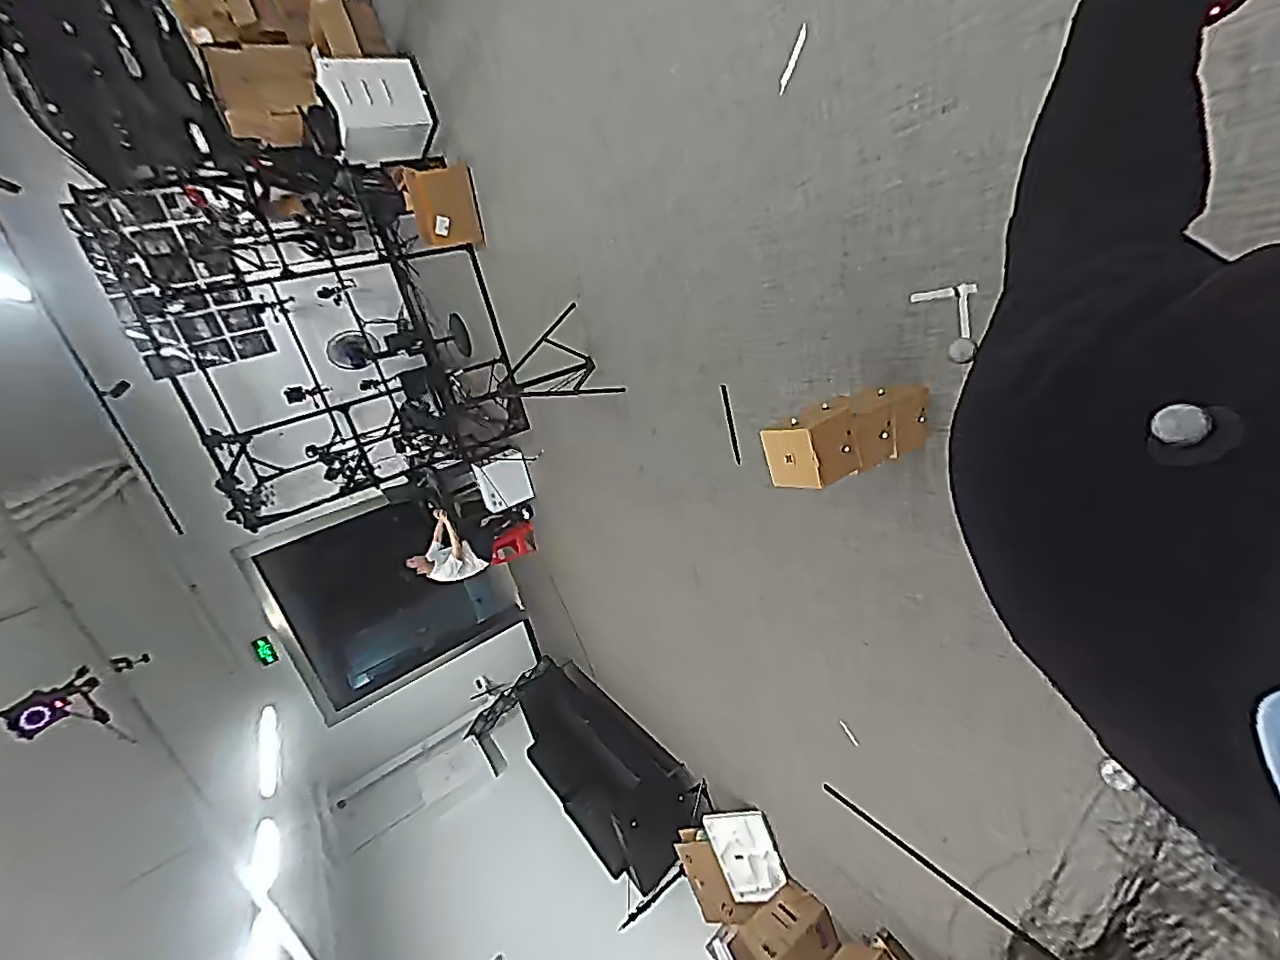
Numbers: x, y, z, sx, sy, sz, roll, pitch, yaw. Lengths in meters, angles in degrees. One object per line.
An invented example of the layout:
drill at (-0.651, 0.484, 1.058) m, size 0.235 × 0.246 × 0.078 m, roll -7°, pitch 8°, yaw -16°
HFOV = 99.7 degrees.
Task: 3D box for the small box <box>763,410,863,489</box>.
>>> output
small box at (0.471, -0.085, 1.469) m, size 0.179 × 0.176 × 0.168 m, roll 4°, pitch 115°, yaw 59°

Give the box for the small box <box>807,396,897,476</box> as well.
small box at (0.605, -0.133, 1.548) m, size 0.179 × 0.176 × 0.168 m, roll 21°, pitch 131°, yaw 53°
